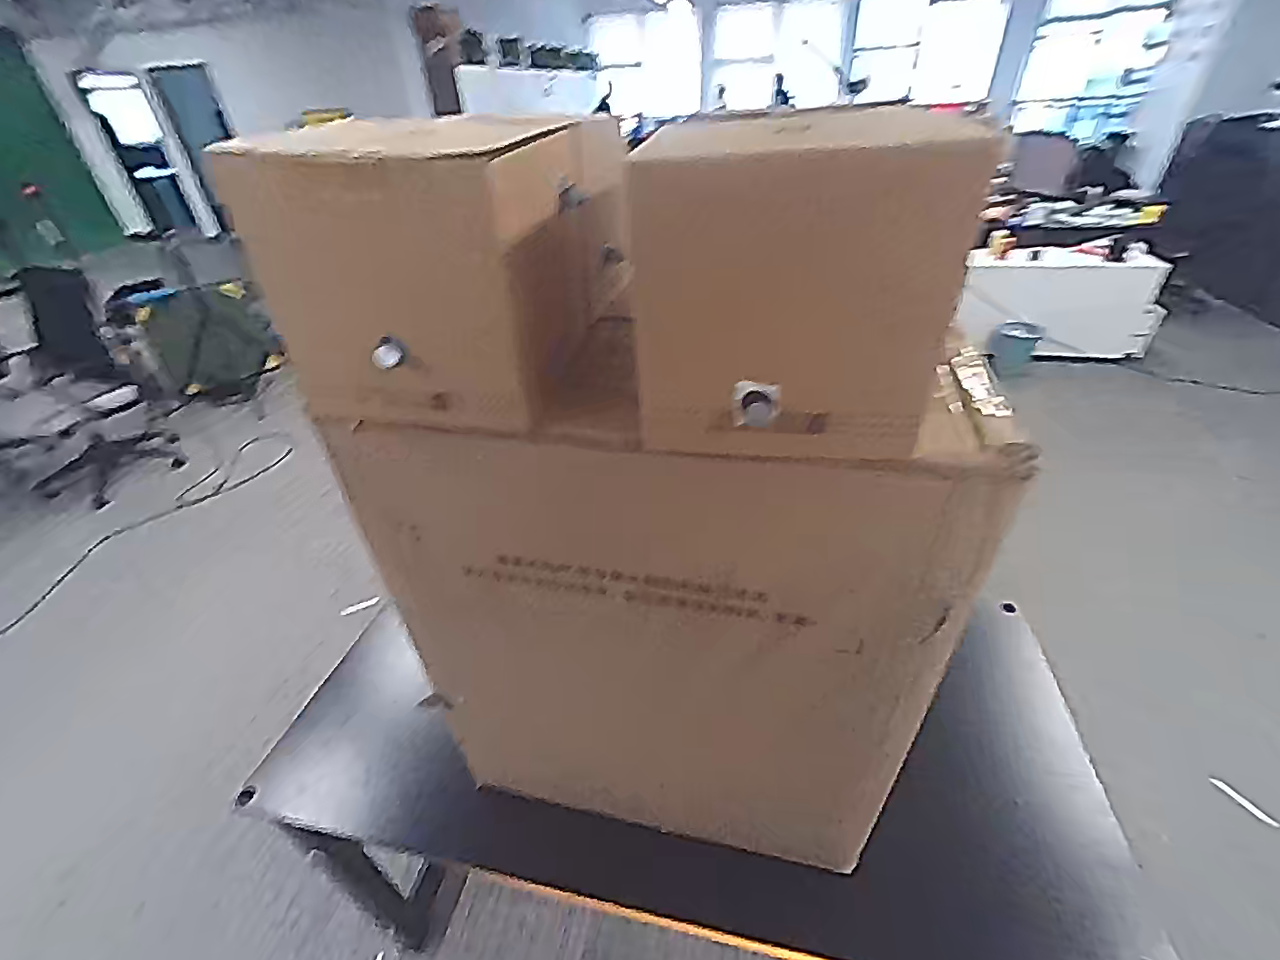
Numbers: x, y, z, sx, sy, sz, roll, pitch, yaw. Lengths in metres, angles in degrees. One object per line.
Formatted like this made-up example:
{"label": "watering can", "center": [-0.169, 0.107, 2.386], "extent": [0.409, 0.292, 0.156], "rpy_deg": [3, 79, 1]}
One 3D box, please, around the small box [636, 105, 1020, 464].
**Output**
{"label": "small box", "center": [0.096, -0.129, 0.349], "extent": [0.168, 0.176, 0.179], "rpy_deg": [1, 38, 10]}
